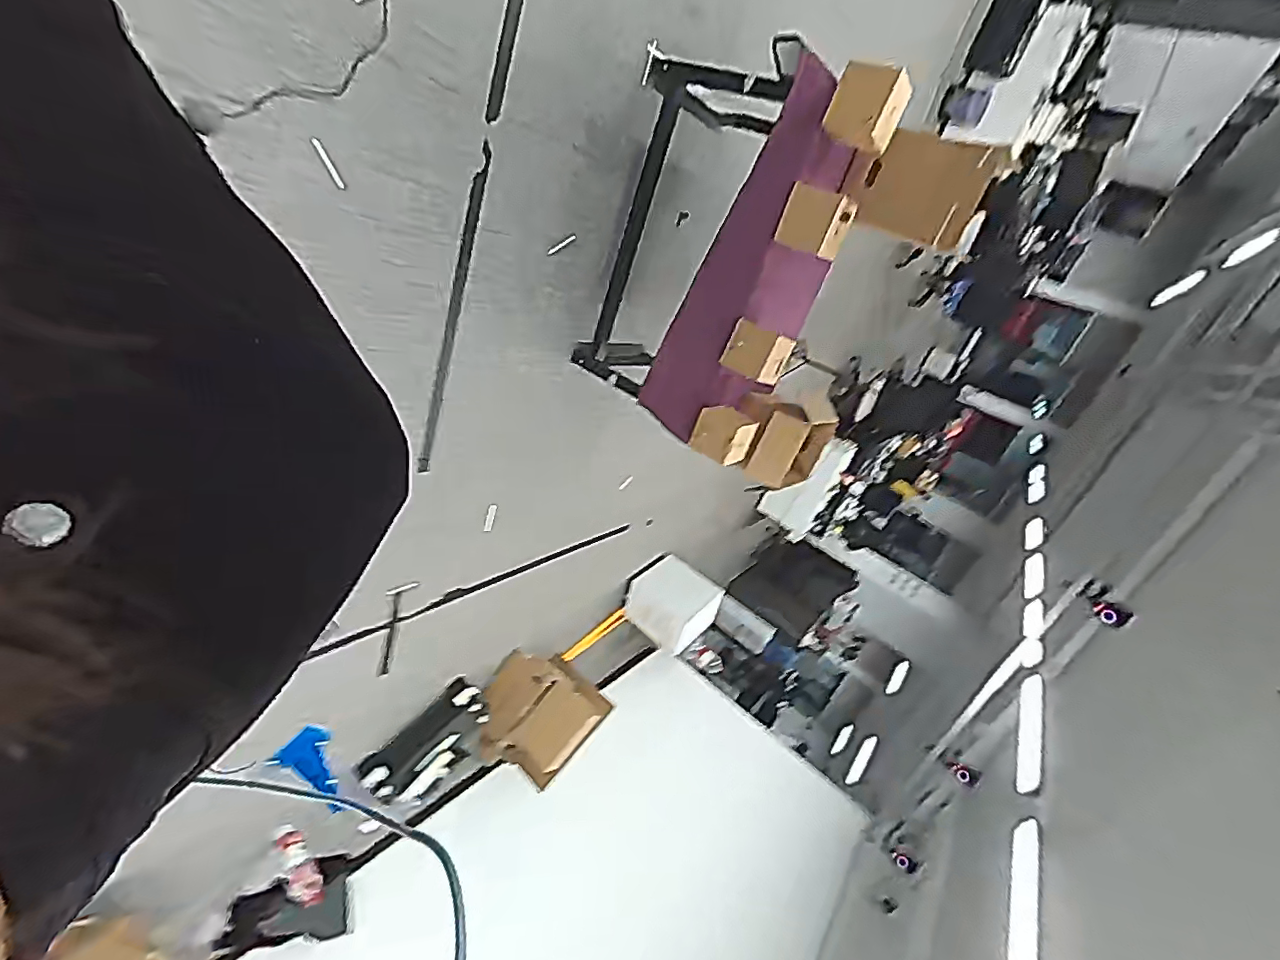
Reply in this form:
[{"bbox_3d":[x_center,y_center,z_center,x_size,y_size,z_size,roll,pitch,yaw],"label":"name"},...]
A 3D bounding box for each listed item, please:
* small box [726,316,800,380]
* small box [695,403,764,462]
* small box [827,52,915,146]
[{"bbox_3d":[0.440,-0.475,1.941,0.179,0.176,0.168,-7,125,-55],"label":"small box"},{"bbox_3d":[0.343,-0.191,2.084,0.179,0.176,0.168,-17,132,-52],"label":"small box"},{"bbox_3d":[0.695,-1.150,1.632,0.168,0.176,0.179,-15,133,-54],"label":"small box"}]
